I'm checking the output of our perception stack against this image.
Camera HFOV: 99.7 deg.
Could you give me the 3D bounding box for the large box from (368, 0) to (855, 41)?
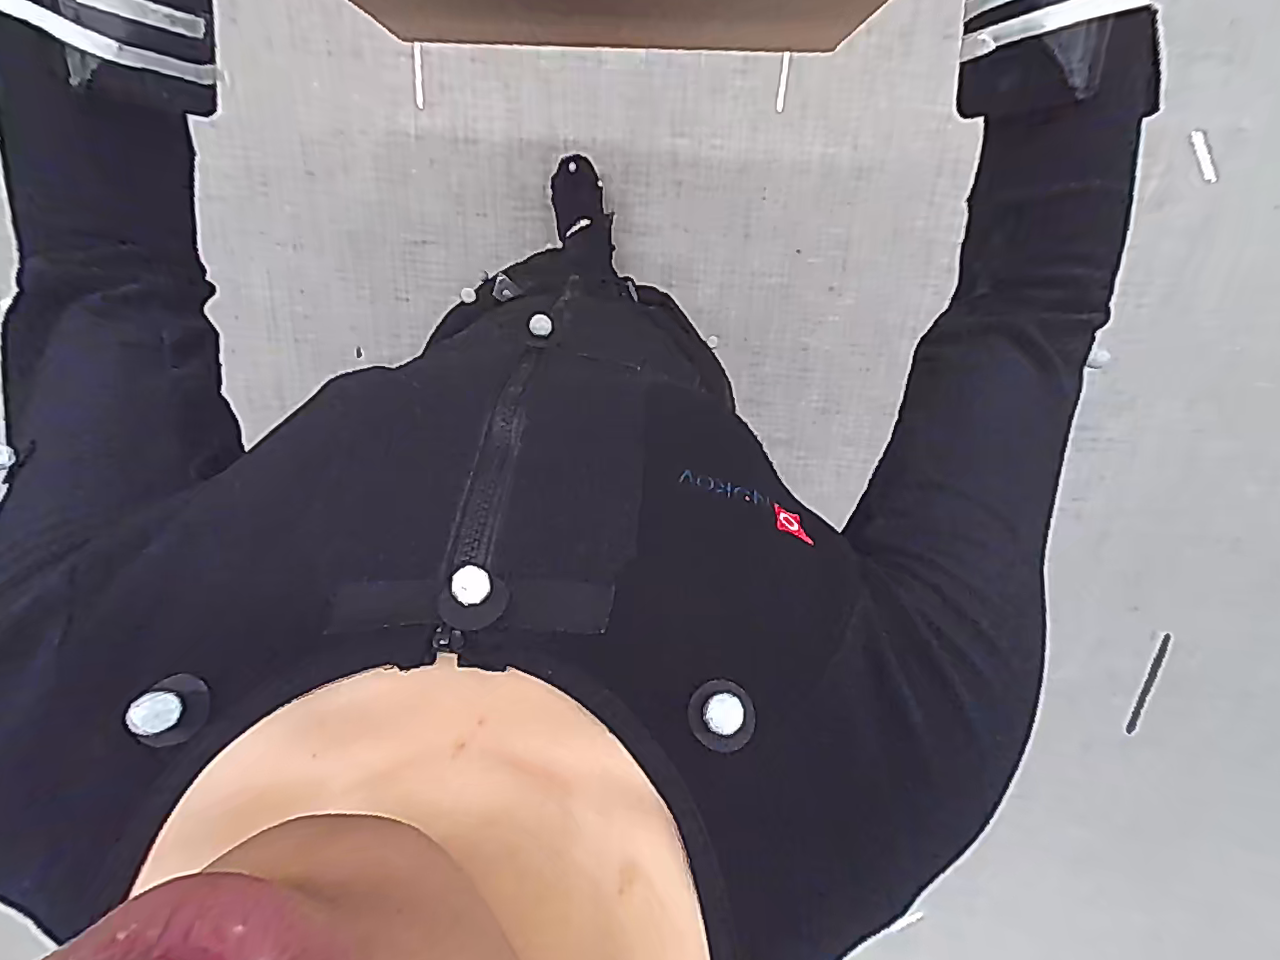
[{"bbox_3d":[-0.022,-0.488,0.305,0.408,0.320,0.320,0,115,0],"label":"large box"}]
